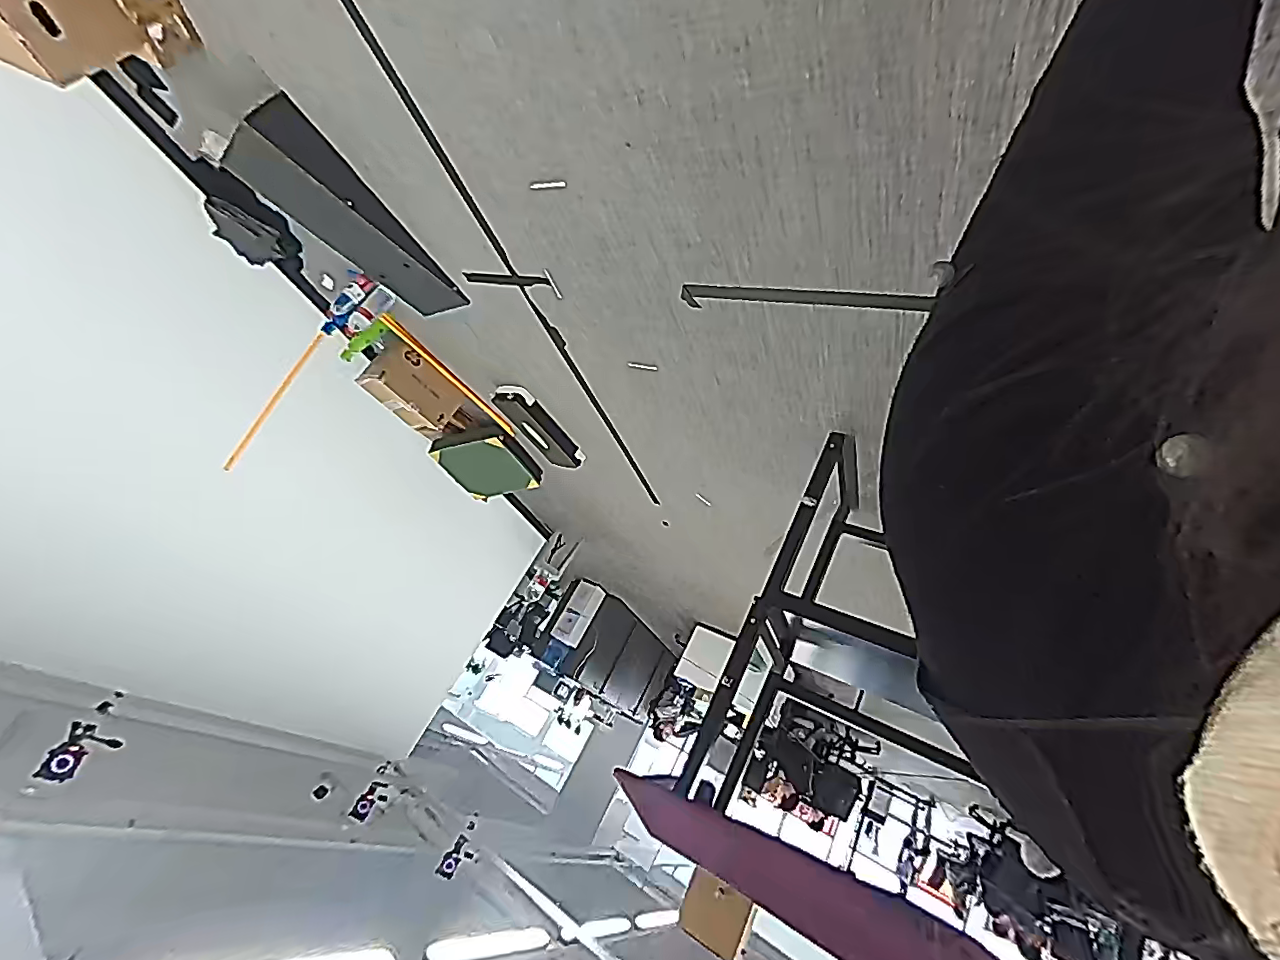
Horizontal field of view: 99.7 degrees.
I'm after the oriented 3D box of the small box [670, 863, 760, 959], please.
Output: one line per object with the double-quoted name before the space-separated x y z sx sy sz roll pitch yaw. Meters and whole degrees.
"small box" 0.213 1.199 1.501 0.179 0.176 0.168 17 155 30
